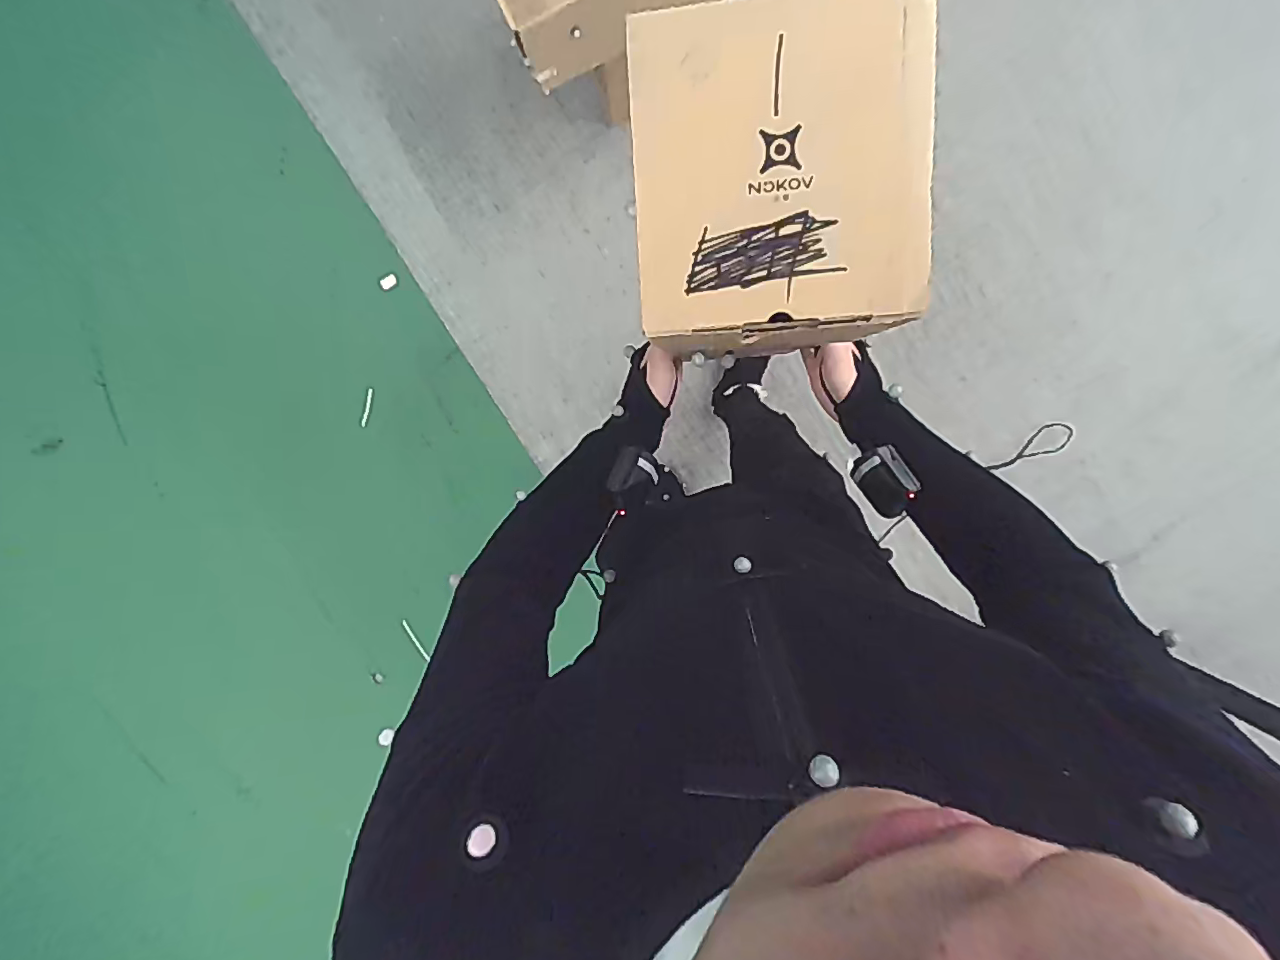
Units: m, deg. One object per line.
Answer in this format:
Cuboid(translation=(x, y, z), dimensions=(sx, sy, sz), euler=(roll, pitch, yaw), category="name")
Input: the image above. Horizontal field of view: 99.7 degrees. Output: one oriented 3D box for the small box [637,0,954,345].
Cuboid(translation=(0.092, -0.189, 0.375), dimensions=(0.168, 0.176, 0.179), euler=(-2, 99, 7), category="small box")
